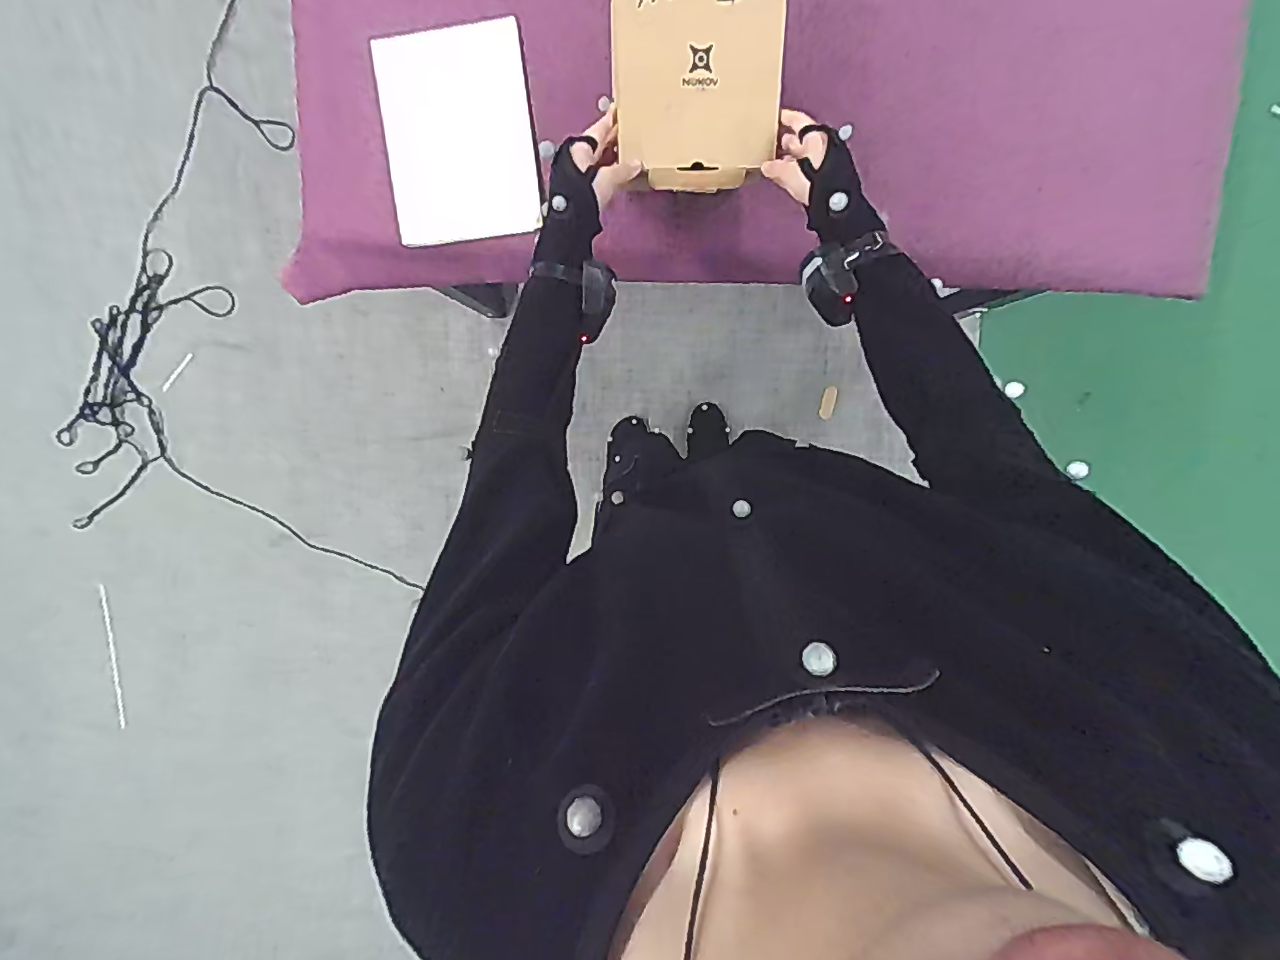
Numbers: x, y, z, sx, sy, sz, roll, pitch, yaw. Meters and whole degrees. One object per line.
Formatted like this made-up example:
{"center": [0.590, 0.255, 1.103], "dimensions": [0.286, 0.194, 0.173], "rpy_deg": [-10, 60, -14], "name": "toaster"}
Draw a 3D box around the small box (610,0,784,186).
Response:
{"center": [0.051, -0.437, 0.608], "dimensions": [0.168, 0.176, 0.179], "rpy_deg": [-2, 113, -4], "name": "small box"}
